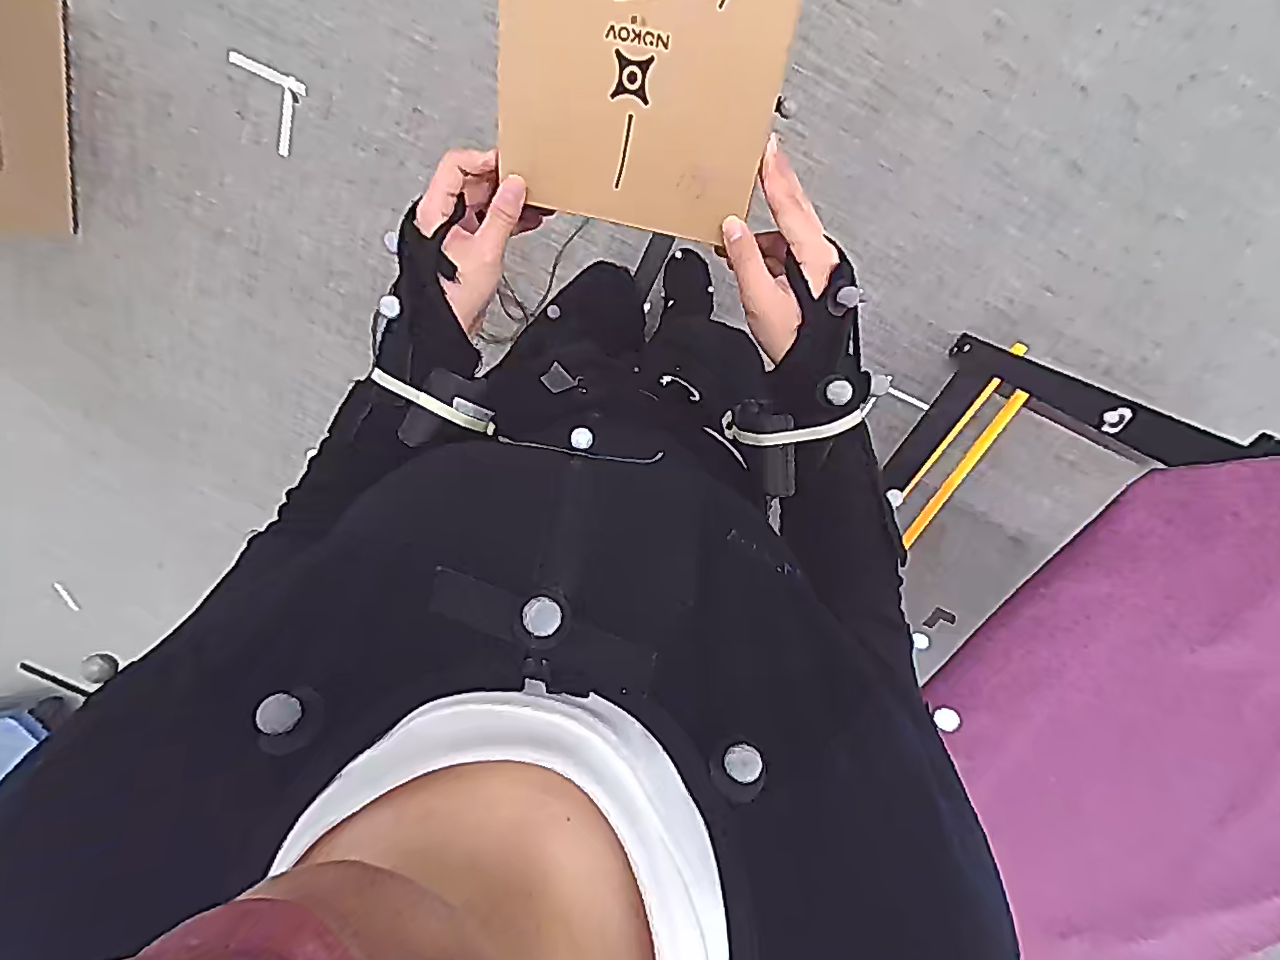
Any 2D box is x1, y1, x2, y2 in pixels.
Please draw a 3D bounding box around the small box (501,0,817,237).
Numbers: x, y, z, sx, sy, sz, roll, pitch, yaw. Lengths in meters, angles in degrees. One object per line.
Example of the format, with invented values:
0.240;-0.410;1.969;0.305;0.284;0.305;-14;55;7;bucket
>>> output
0.020;-0.286;0.362;0.168;0.176;0.179;15;125;3;small box
